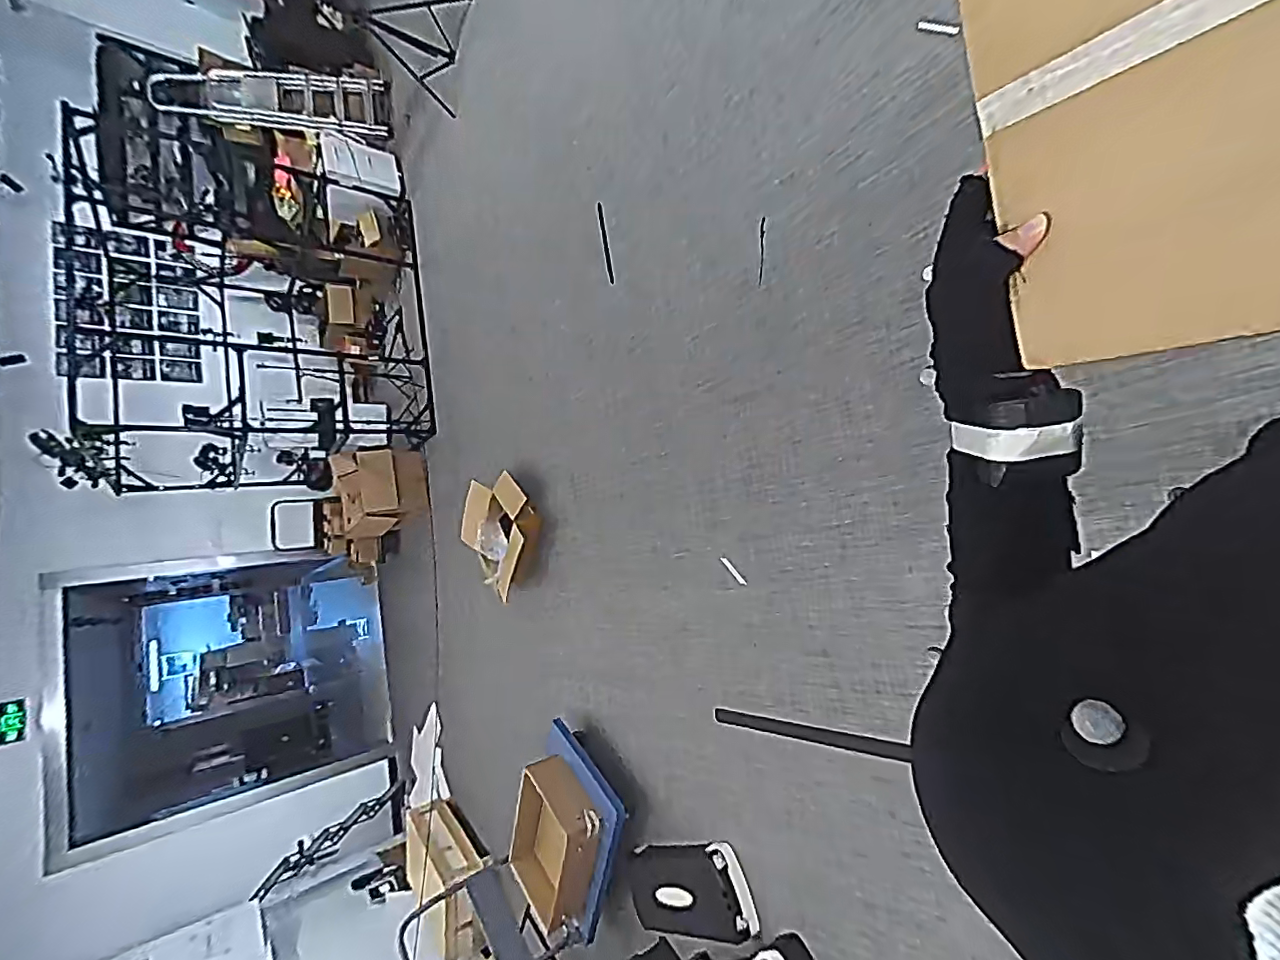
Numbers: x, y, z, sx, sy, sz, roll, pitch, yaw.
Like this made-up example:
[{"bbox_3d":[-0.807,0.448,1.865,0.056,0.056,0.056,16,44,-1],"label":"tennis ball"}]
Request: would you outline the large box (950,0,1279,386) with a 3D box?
[{"bbox_3d":[0.443,-0.267,0.267,0.408,0.320,0.320,-4,105,53],"label":"large box"}]
